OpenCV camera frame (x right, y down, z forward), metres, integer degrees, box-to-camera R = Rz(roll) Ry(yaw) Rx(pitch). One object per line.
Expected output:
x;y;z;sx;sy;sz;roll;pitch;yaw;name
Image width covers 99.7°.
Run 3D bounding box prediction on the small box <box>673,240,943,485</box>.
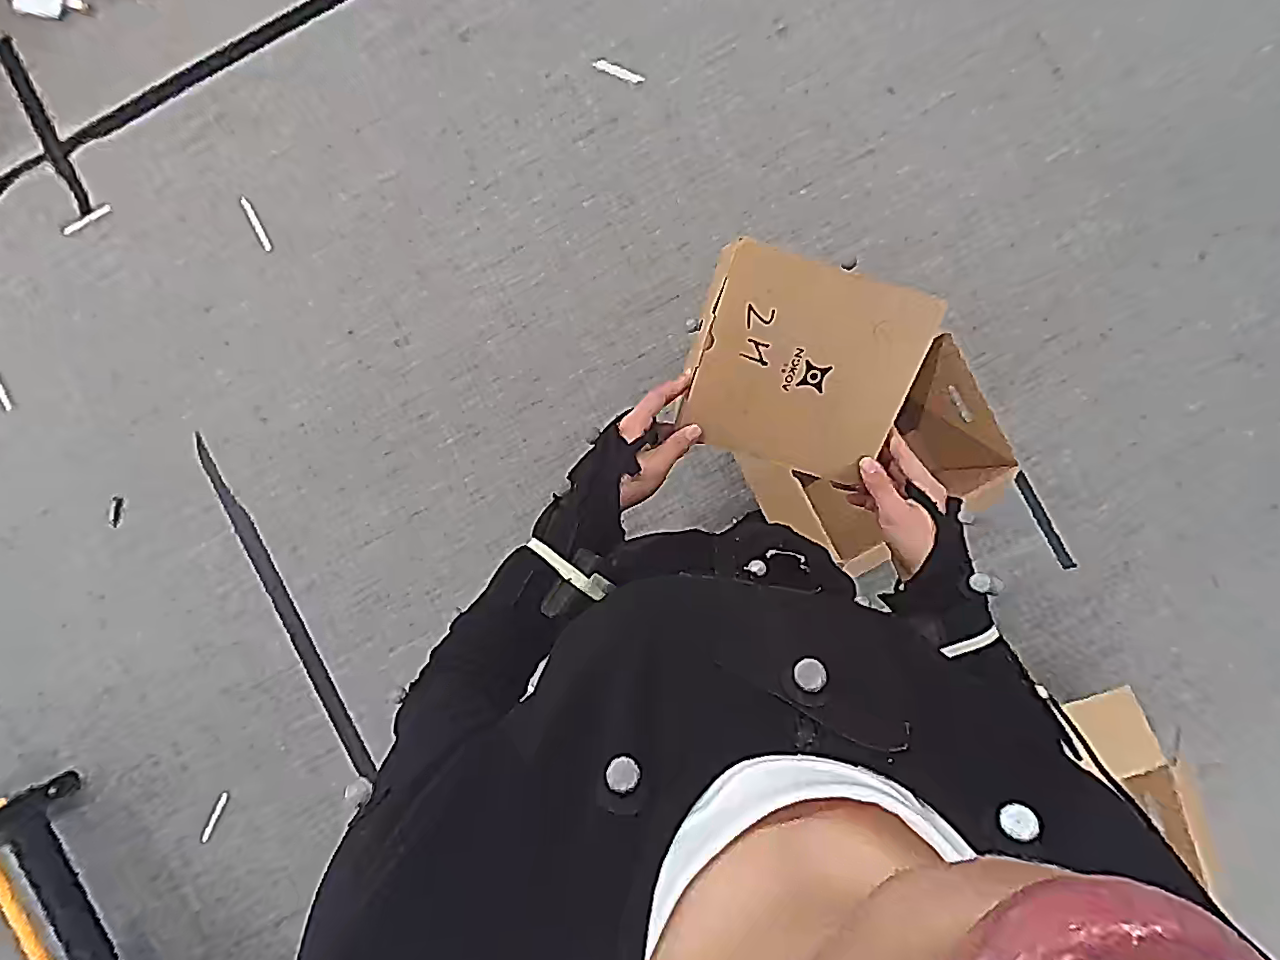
0.140;-0.119;0.523;0.179;0.176;0.168;17;111;-2;small box
